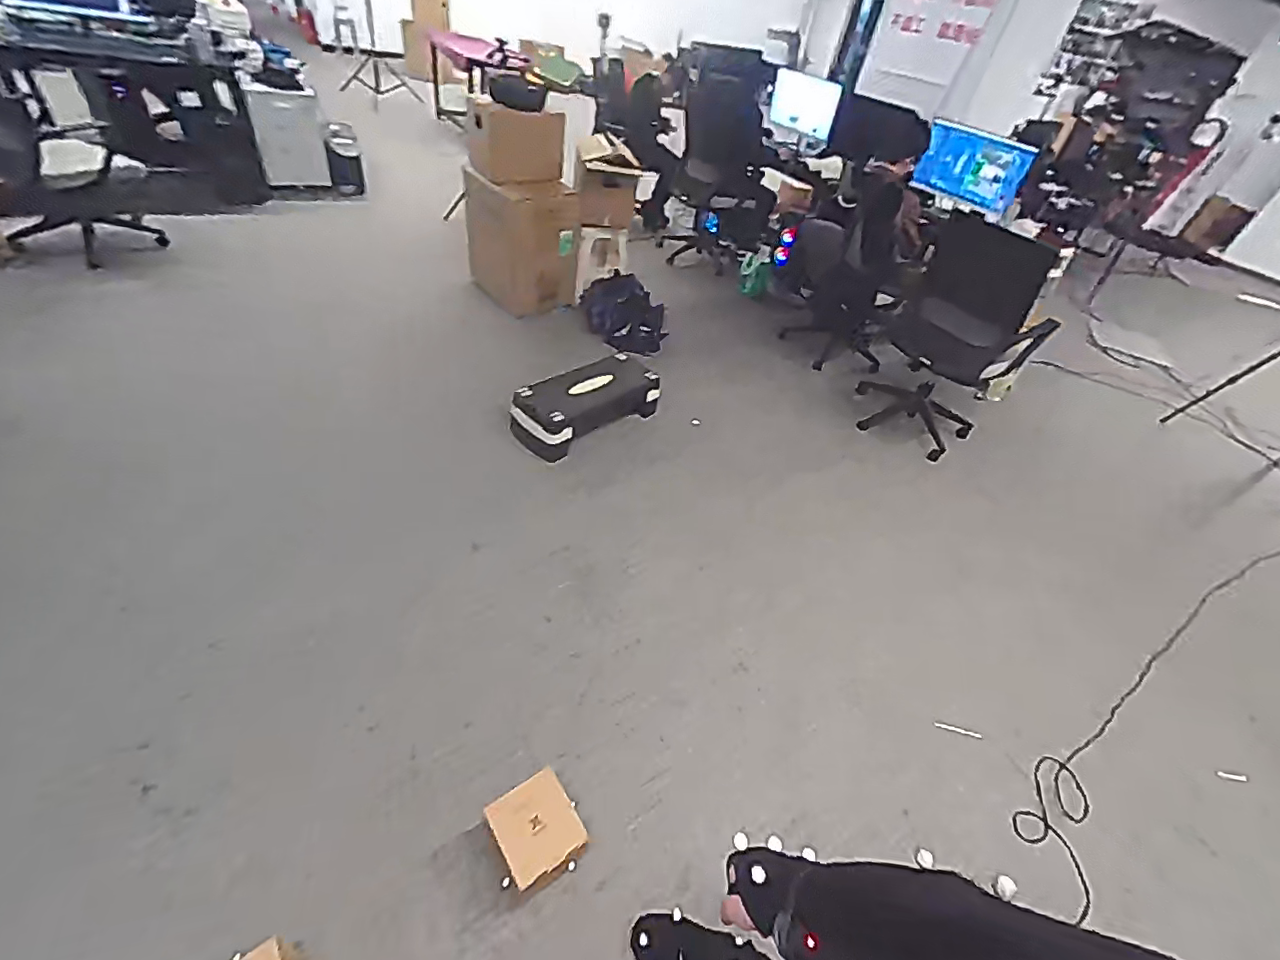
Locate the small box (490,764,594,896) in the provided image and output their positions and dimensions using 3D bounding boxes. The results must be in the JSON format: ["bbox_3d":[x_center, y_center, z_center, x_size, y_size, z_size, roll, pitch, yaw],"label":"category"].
[{"bbox_3d":[-0.220,0.785,1.208,0.168,0.176,0.179,-21,50,-32],"label":"small box"}]
